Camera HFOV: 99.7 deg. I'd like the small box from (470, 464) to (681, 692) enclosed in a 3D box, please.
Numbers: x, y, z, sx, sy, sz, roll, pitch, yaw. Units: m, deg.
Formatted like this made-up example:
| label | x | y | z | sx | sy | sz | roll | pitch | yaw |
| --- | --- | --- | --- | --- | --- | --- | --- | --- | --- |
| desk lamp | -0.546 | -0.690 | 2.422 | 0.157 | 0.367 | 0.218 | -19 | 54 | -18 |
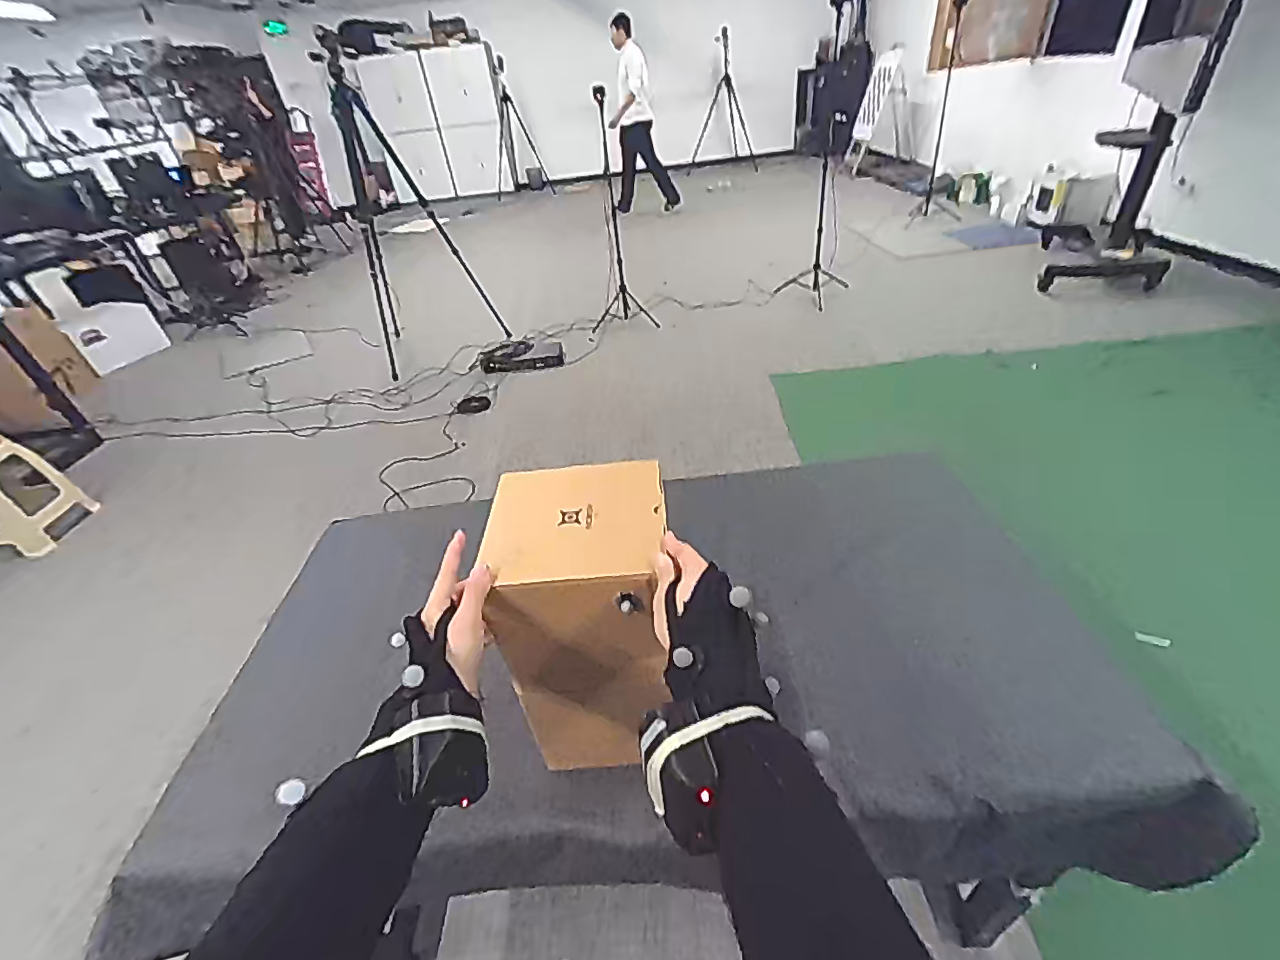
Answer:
| label | x | y | z | sx | sy | sz | roll | pitch | yaw |
| --- | --- | --- | --- | --- | --- | --- | --- | --- | --- |
| small box | -0.054 | 0.103 | 0.569 | 0.179 | 0.176 | 0.168 | -5 | 37 | 2 |
